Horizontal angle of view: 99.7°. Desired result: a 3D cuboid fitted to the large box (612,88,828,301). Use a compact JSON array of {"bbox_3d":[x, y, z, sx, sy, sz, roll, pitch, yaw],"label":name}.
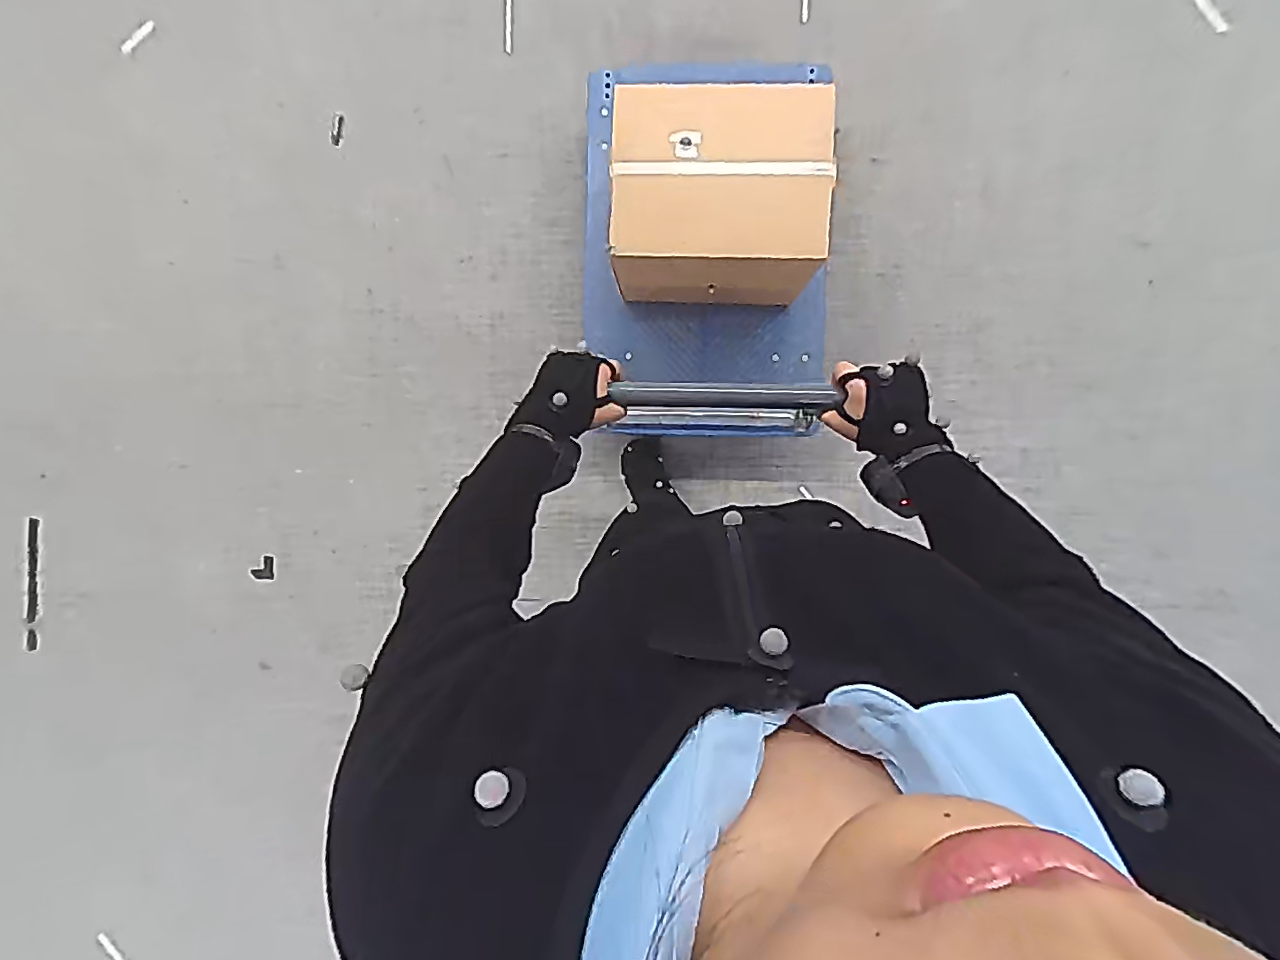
[{"bbox_3d":[0.161,-0.578,1.162,0.408,0.320,0.320,2,92,5],"label":"large box"}]
